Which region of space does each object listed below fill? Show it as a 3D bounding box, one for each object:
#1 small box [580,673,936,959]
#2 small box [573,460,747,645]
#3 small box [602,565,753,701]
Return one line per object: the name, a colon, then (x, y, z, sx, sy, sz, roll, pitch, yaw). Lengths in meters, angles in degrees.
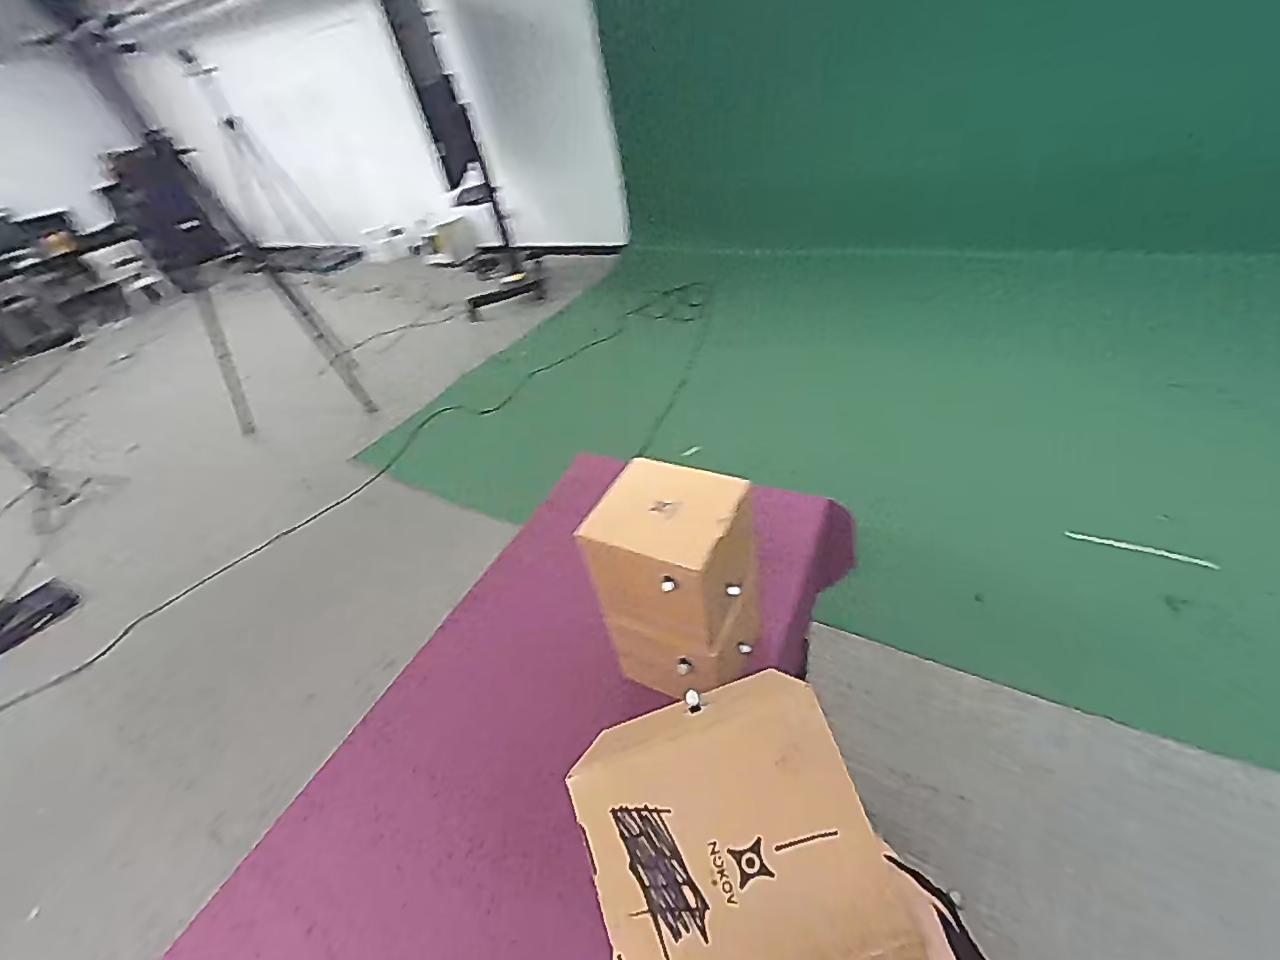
small box: (0.073, 0.258, 0.409, 0.179, 0.176, 0.168, -20, 74, -1)
small box: (0.038, 0.098, 0.744, 0.179, 0.176, 0.168, 13, 46, 26)
small box: (0.070, 0.225, 0.841, 0.179, 0.176, 0.168, 11, 45, 27)
